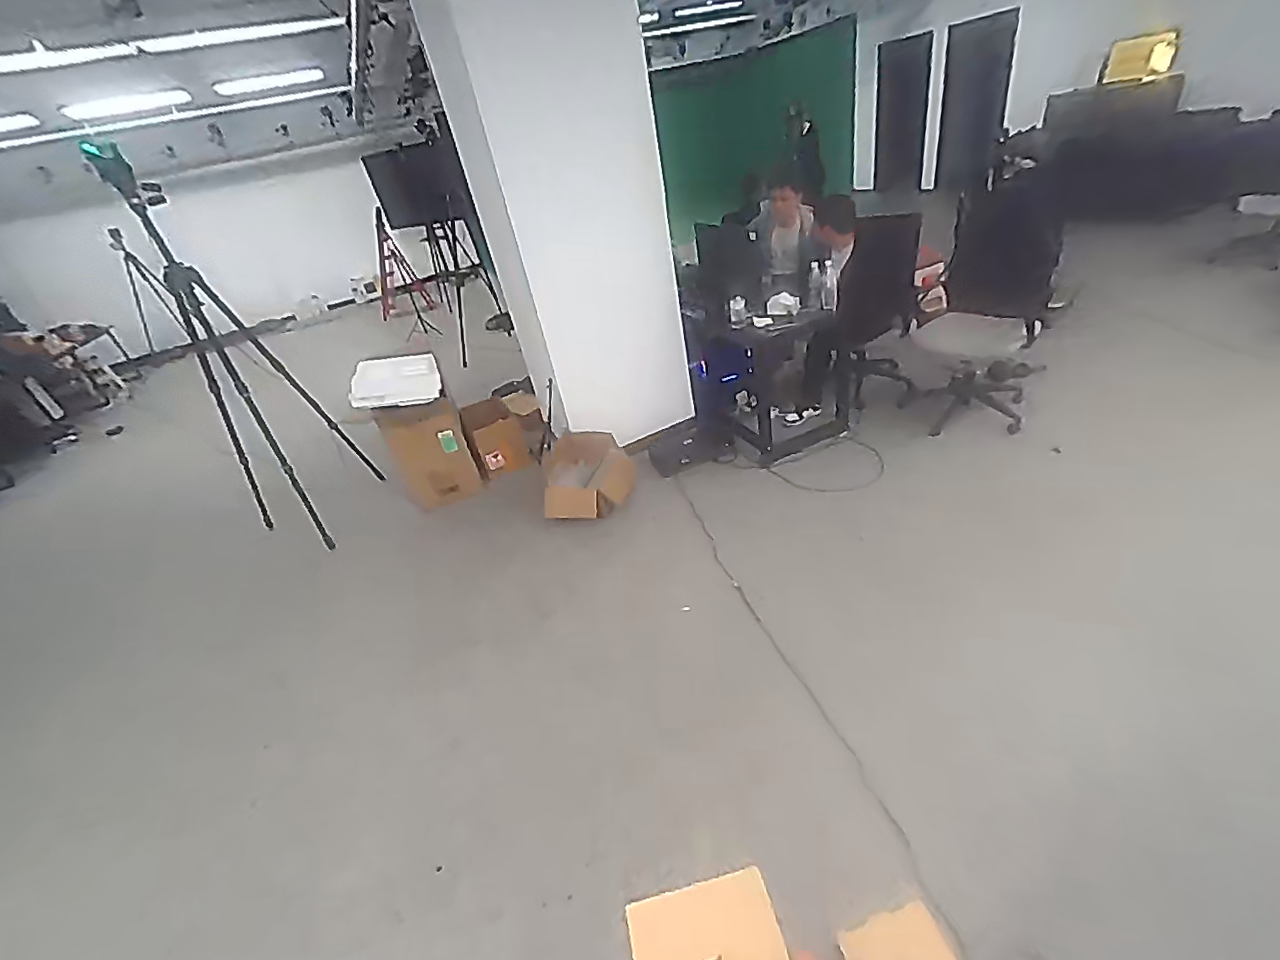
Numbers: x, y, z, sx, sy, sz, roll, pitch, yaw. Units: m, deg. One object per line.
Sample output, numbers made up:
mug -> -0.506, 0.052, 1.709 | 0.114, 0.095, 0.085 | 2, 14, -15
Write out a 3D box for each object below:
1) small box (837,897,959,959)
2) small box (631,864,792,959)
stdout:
small box -> 0.444, 0.850, 0.892 | 0.168, 0.176, 0.179 | -18, 32, -7
small box -> 0.088, 0.588, 0.625 | 0.168, 0.176, 0.179 | -12, 42, -7
